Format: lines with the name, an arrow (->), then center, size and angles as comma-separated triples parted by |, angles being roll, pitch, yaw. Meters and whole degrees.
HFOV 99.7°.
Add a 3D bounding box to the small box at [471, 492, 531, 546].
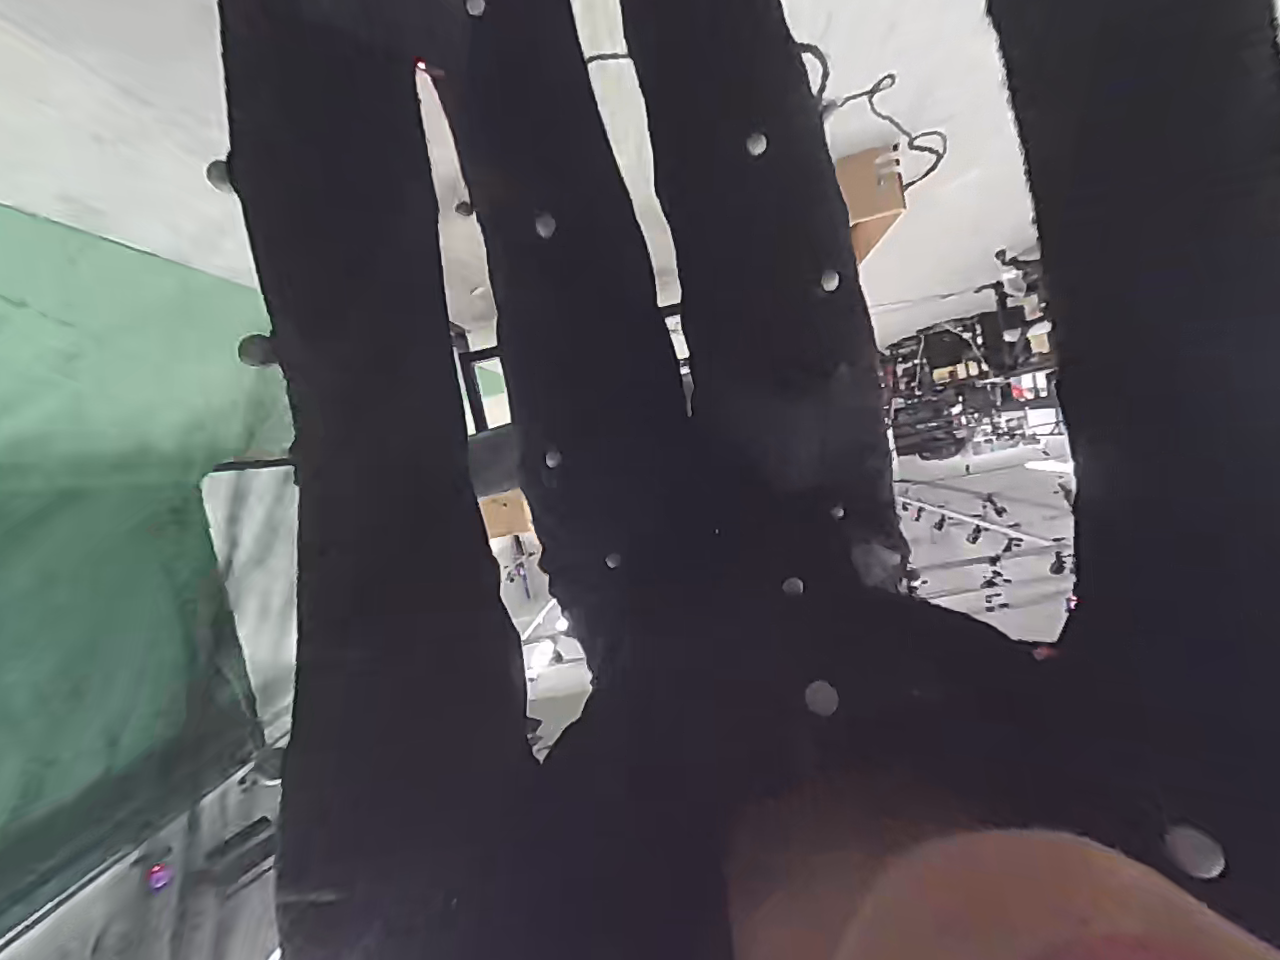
small box -> -0.528, 0.143, 2.070 | 0.168, 0.176, 0.179 | -13, -177, 2
